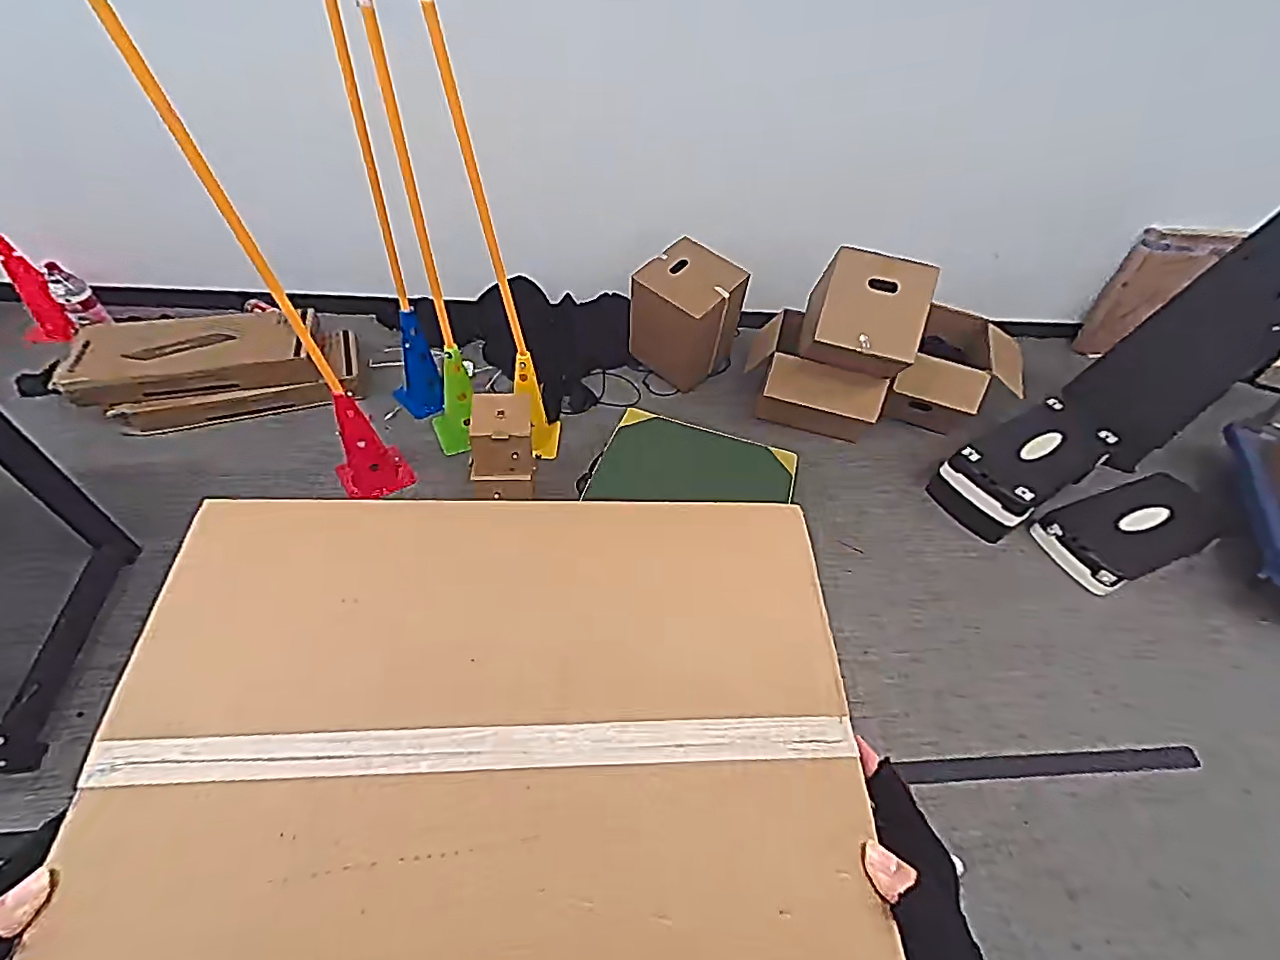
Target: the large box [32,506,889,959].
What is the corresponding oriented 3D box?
[{"bbox_3d":[-0.092,0.228,0.429,0.408,0.320,0.320,1,59,-5],"label":"large box"}]
